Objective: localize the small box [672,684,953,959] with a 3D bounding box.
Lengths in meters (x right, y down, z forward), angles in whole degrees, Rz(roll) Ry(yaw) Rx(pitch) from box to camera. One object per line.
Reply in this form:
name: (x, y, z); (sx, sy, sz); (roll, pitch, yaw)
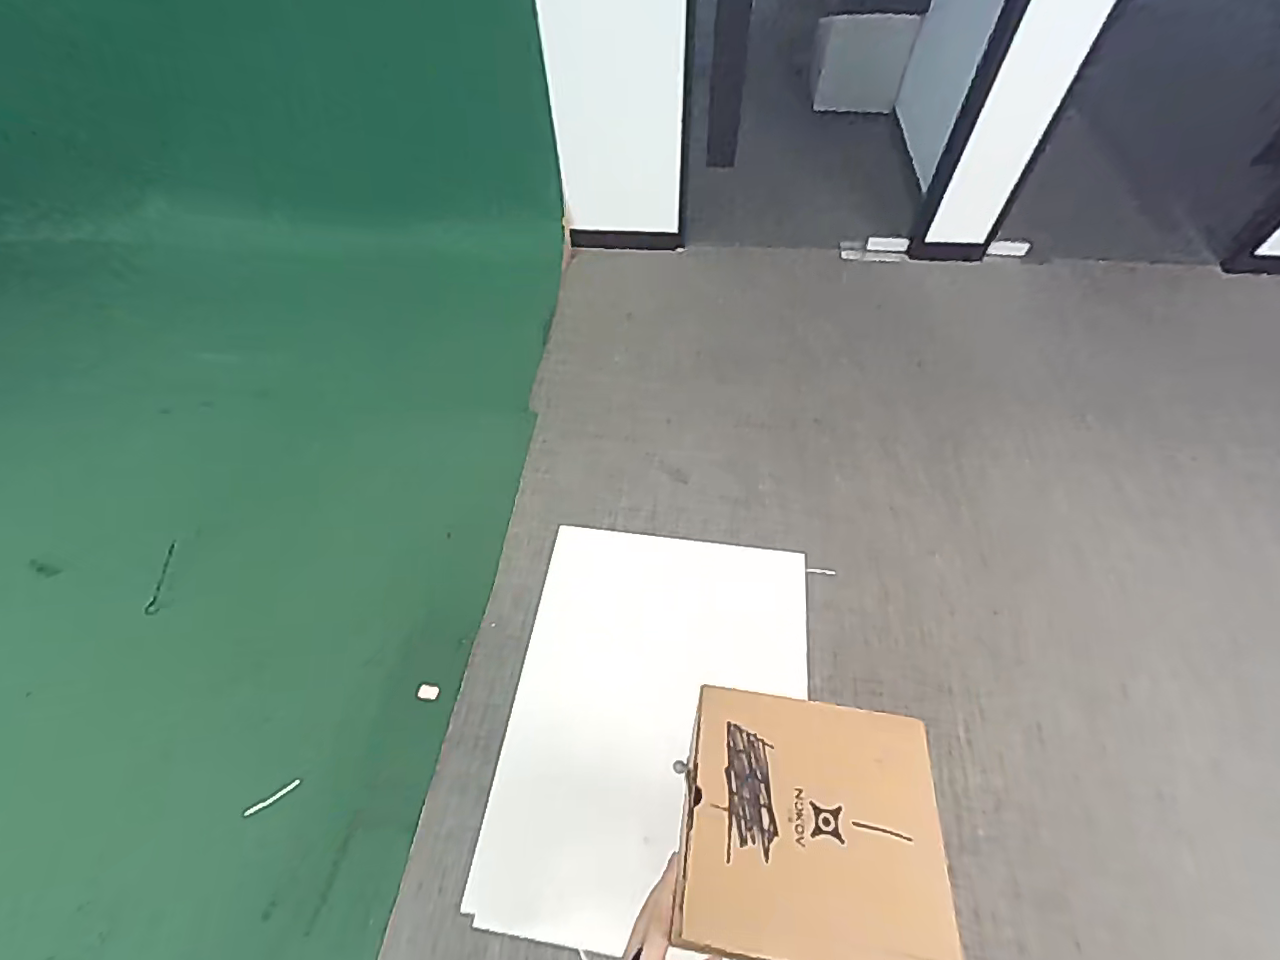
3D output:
small box: (0.123, 0.295, 0.452); (0.179, 0.176, 0.168); (8, 49, 6)
